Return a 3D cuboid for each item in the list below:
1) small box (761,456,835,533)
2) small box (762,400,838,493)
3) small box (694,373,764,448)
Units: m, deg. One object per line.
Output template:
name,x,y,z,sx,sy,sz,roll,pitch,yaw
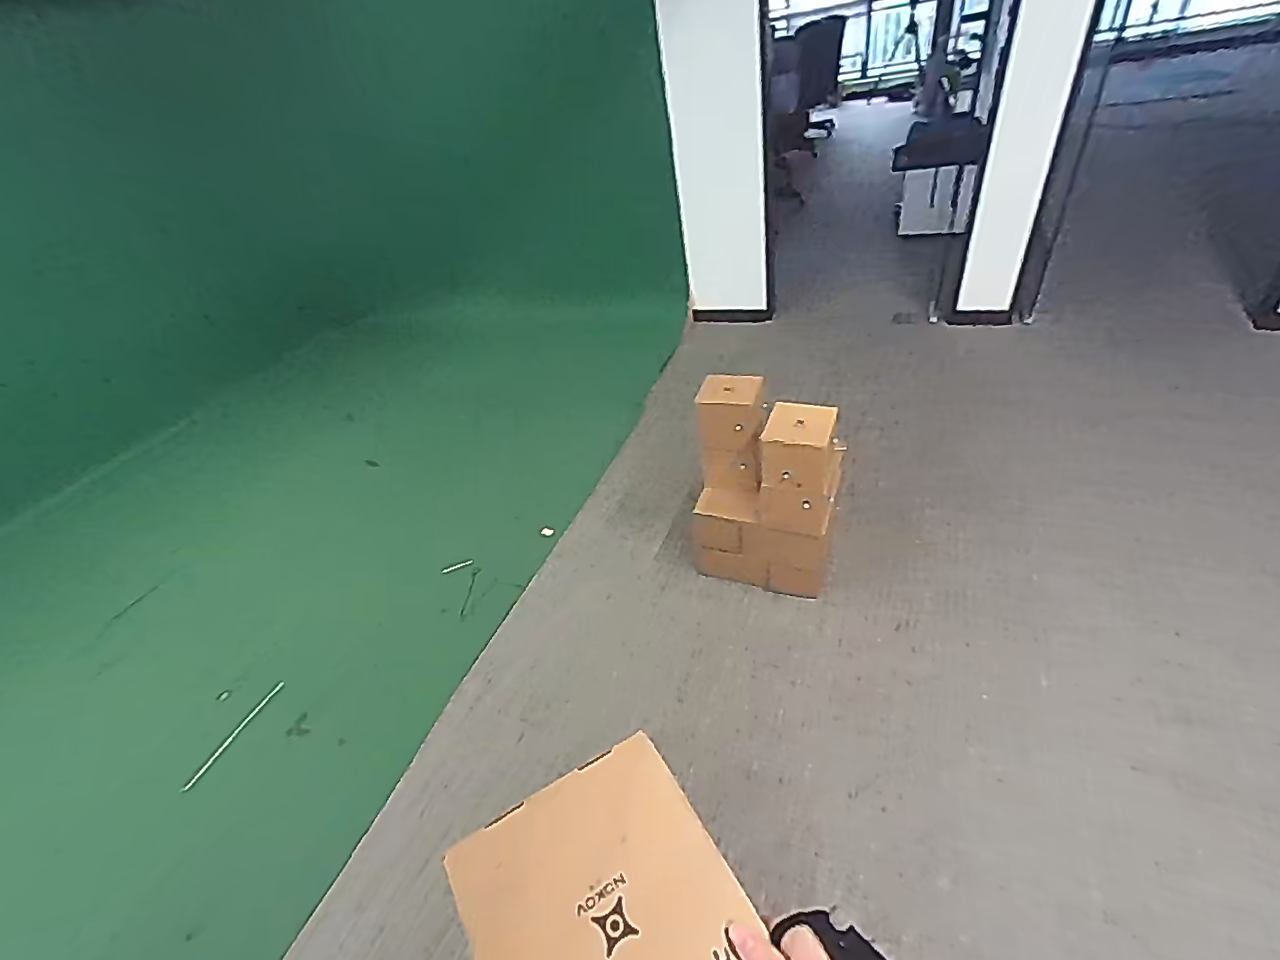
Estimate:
small box,0.458,0.032,1.571,0.179,0.176,0.168,10,44,24
small box,0.432,-0.093,1.469,0.168,0.176,0.179,10,46,24
small box,0.278,-0.211,1.653,0.179,0.176,0.168,6,41,23
